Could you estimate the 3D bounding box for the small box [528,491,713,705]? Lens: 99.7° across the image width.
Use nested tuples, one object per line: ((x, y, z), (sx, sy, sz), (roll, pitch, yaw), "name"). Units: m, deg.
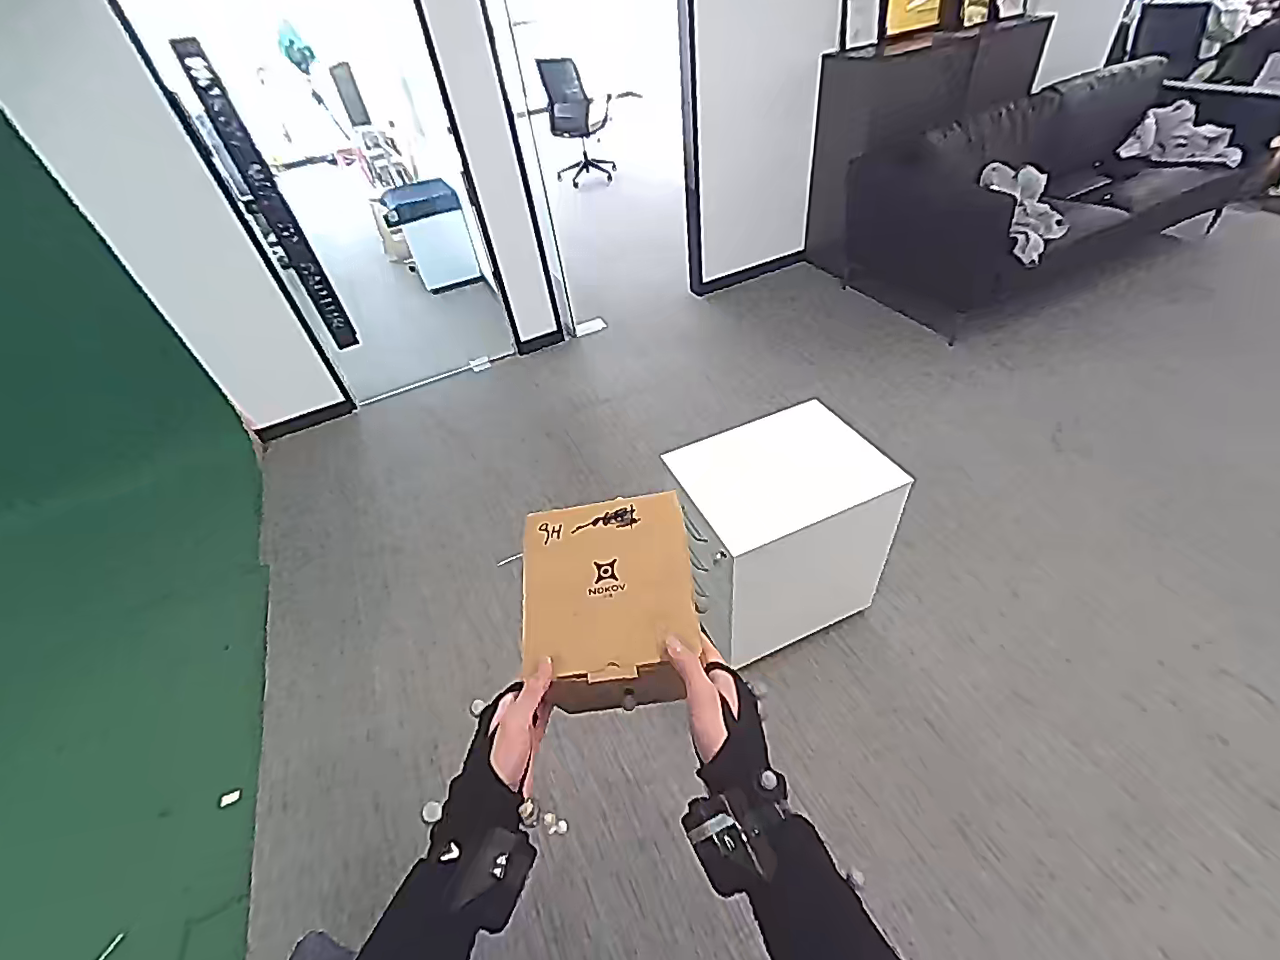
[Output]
((-0.017, 0.140, 0.597), (0.168, 0.176, 0.179), (-11, 57, 3), "small box")
